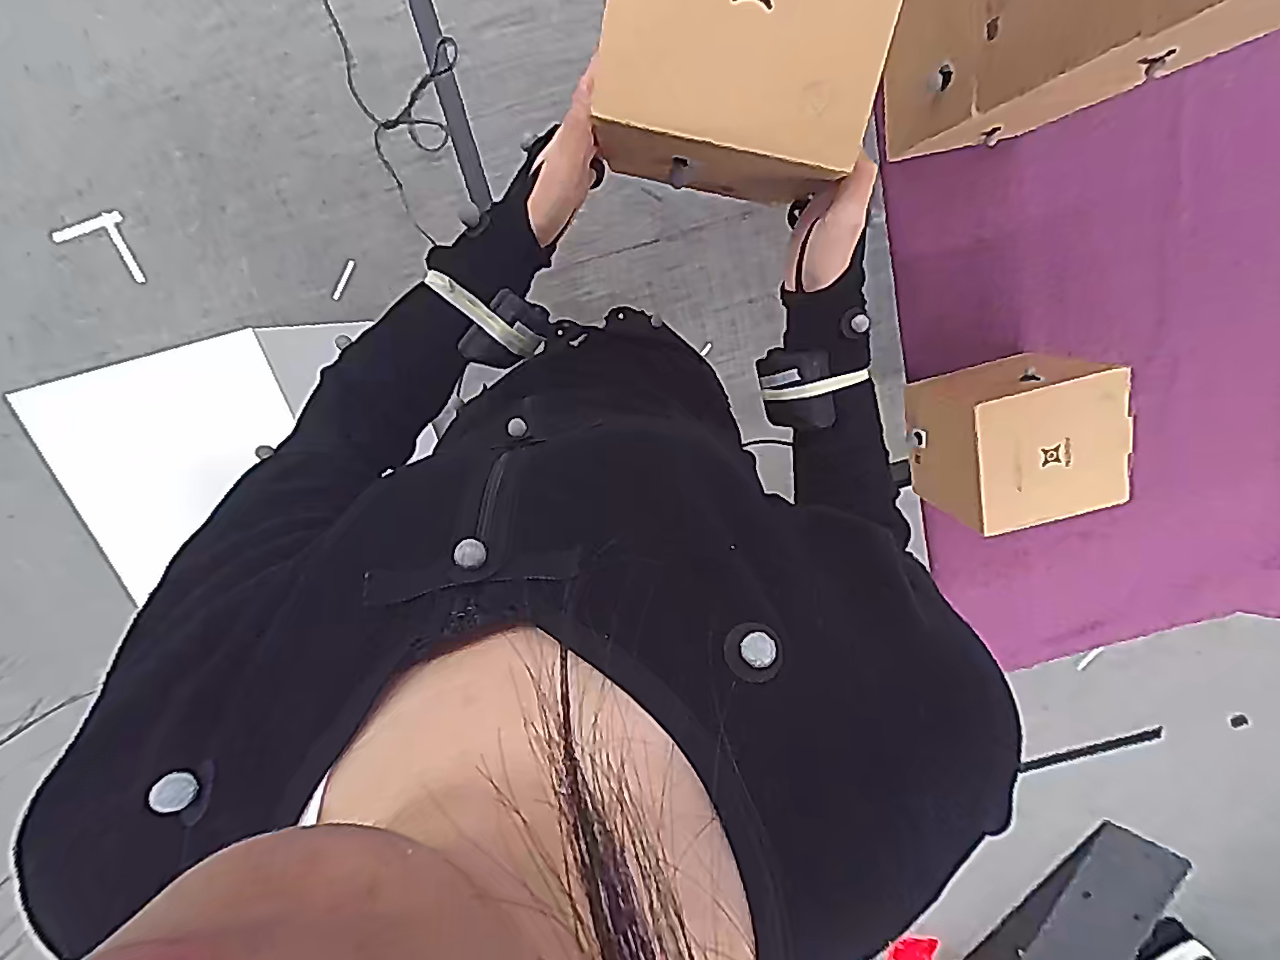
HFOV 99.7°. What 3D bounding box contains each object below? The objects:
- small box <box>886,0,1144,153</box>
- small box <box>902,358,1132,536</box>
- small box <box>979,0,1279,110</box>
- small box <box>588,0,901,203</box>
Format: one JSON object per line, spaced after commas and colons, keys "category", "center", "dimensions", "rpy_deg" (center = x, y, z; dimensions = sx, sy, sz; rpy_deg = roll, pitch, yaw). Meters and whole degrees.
{"category": "small box", "center": [0.370, -0.457, 0.552], "dimensions": [0.168, 0.176, 0.179], "rpy_deg": [-11, 108, 0]}
{"category": "small box", "center": [0.466, -0.052, 0.689], "dimensions": [0.179, 0.176, 0.168], "rpy_deg": [-15, 107, 2]}
{"category": "small box", "center": [0.388, -0.405, 0.396], "dimensions": [0.179, 0.176, 0.168], "rpy_deg": [-12, 108, 2]}
{"category": "small box", "center": [0.068, -0.307, 0.370], "dimensions": [0.168, 0.176, 0.179], "rpy_deg": [11, 109, -2]}
